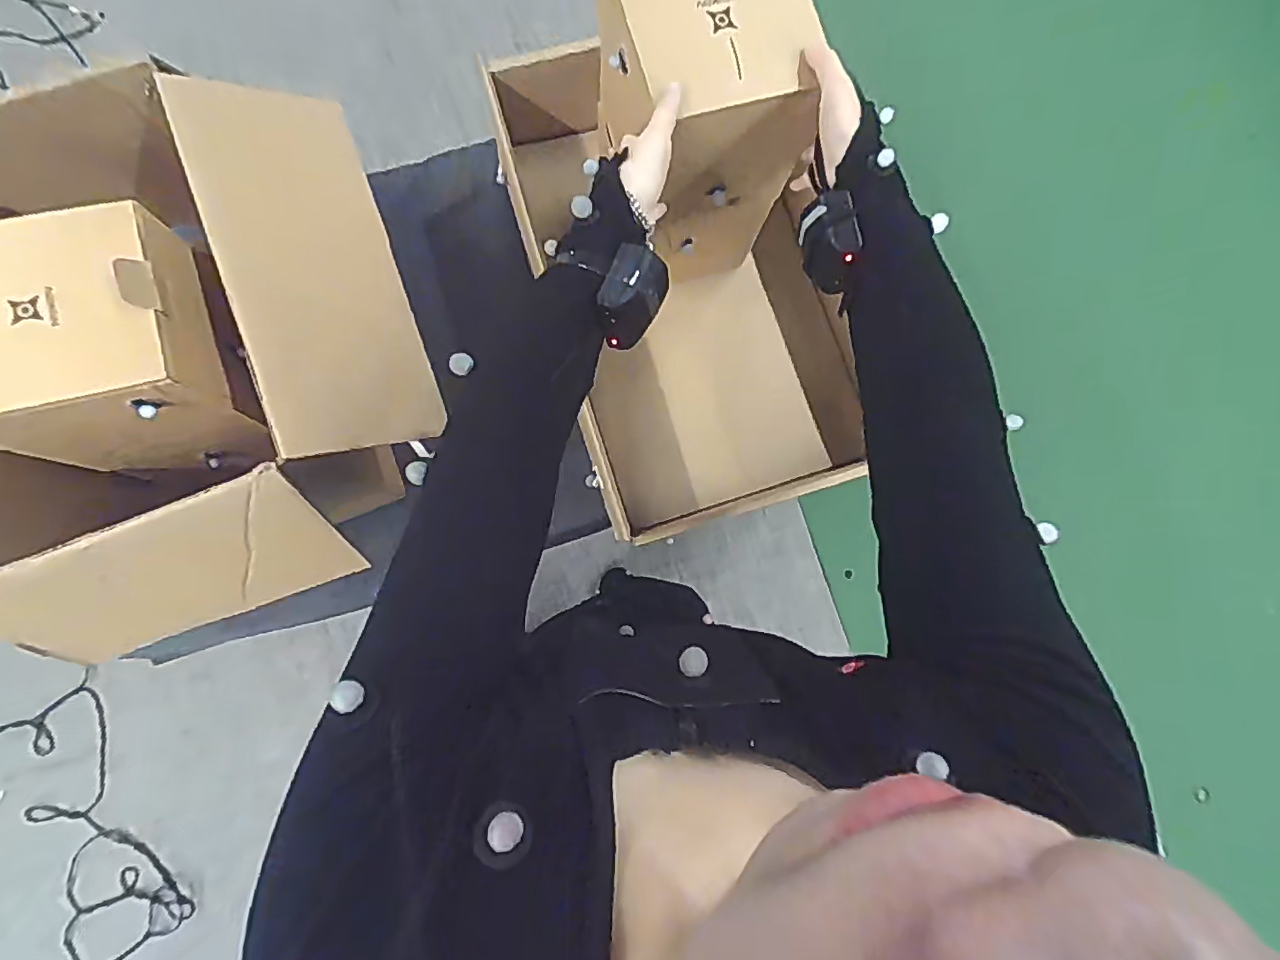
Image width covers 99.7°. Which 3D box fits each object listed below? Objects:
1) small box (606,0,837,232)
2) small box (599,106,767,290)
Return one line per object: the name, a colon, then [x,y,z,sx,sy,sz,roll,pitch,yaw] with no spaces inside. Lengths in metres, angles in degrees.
small box: [0.064,-0.390,0.548,0.168,0.176,0.179,-16,86,-5]
small box: [0.053,-0.374,0.712,0.179,0.176,0.168,-16,85,-4]
